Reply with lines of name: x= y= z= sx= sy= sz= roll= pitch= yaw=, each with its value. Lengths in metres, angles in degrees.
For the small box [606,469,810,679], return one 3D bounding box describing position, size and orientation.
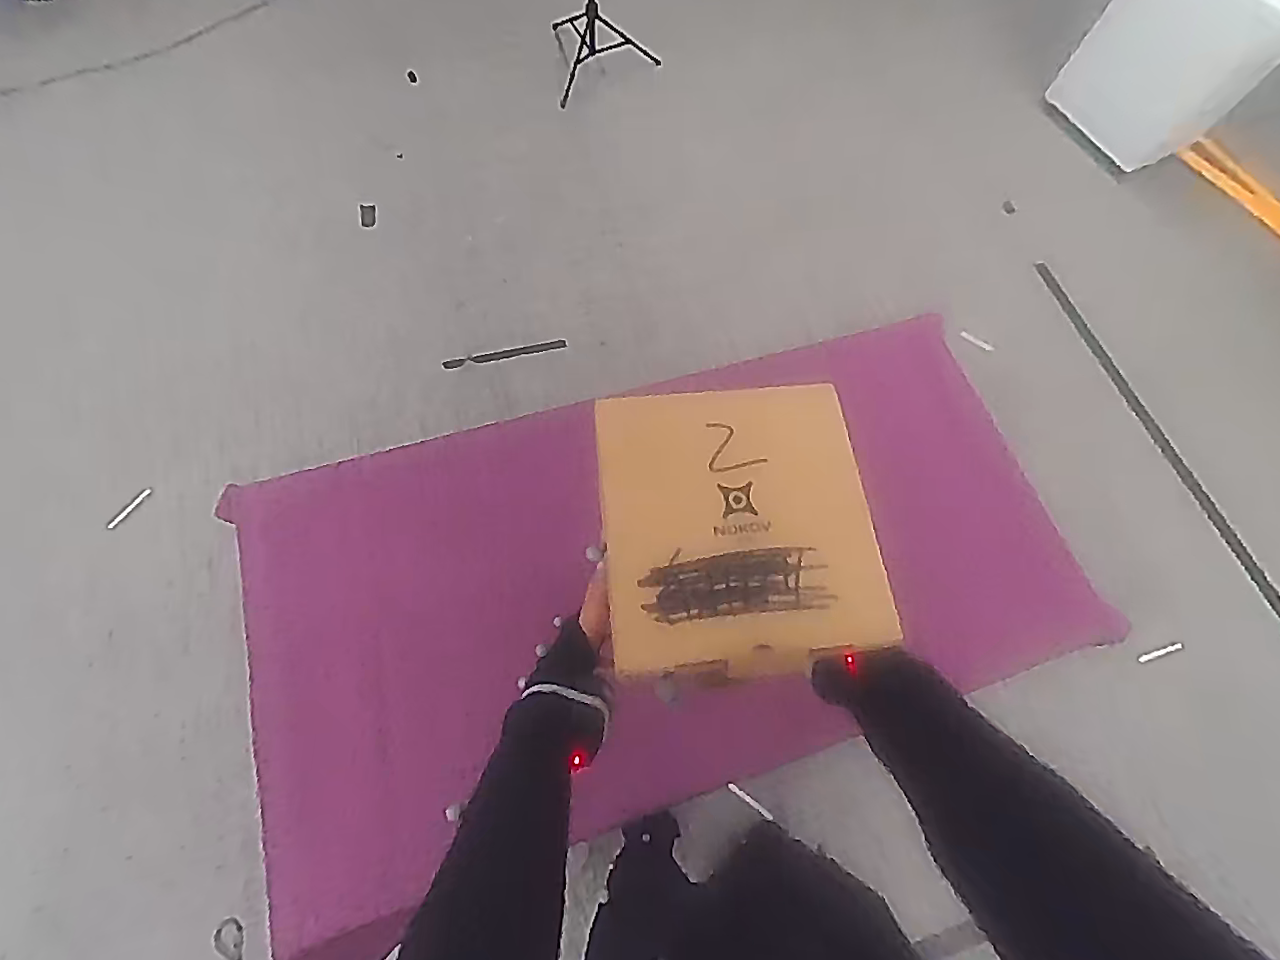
small box: x=0.052 y=0.104 z=0.561 sx=0.168 sy=0.176 sz=0.179 roll=-5 pitch=69 yaw=-5
